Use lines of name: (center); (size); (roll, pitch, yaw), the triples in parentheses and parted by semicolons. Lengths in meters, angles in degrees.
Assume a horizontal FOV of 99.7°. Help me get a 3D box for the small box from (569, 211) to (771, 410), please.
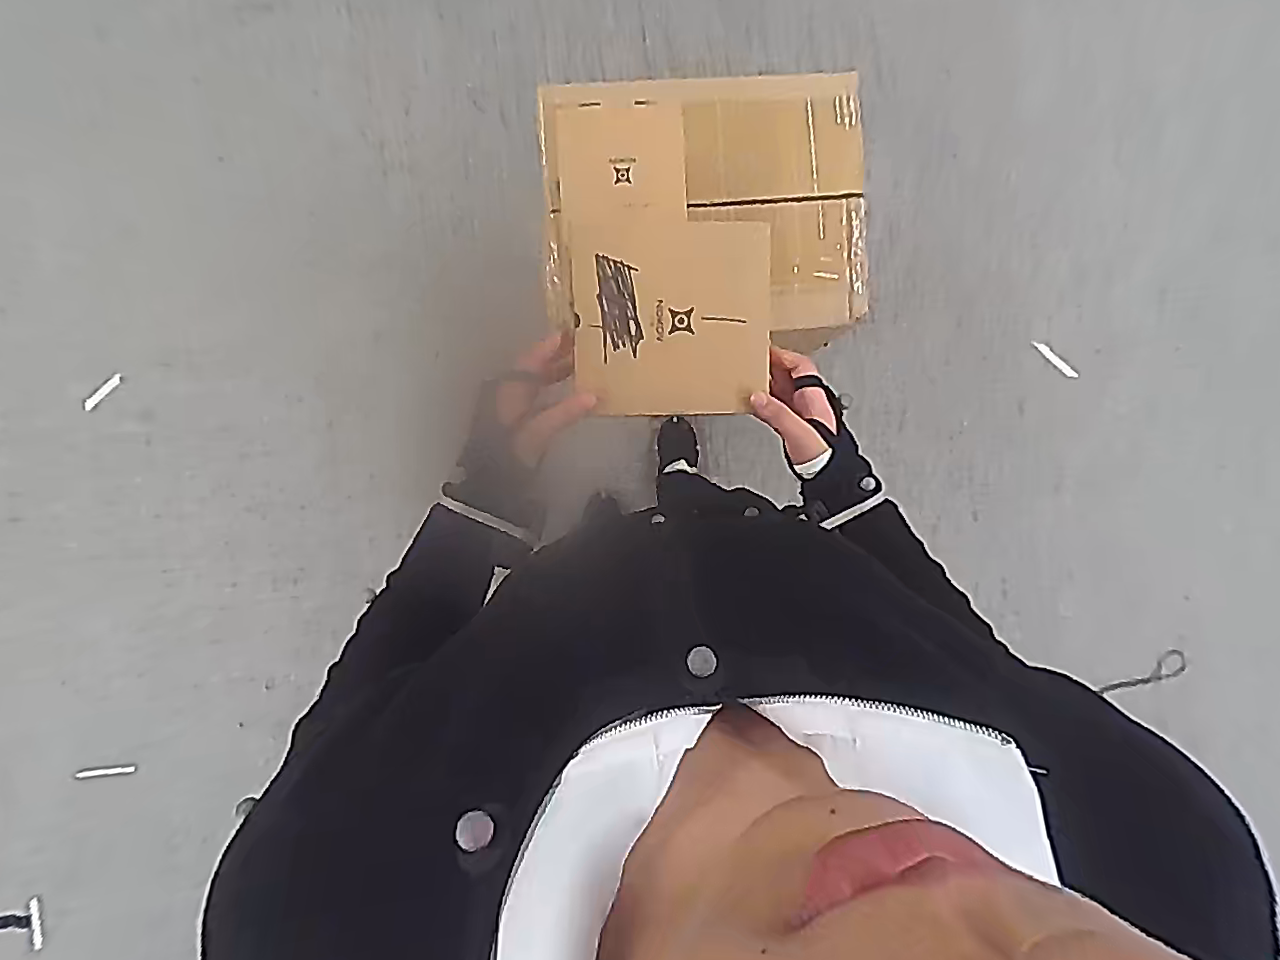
small box: (0.024, -0.157, 0.551); (0.179, 0.176, 0.168); (-2, 97, -3)

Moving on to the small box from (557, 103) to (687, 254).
small box: (-0.026, -0.403, 0.782); (0.168, 0.176, 0.179); (-4, 94, -2)
